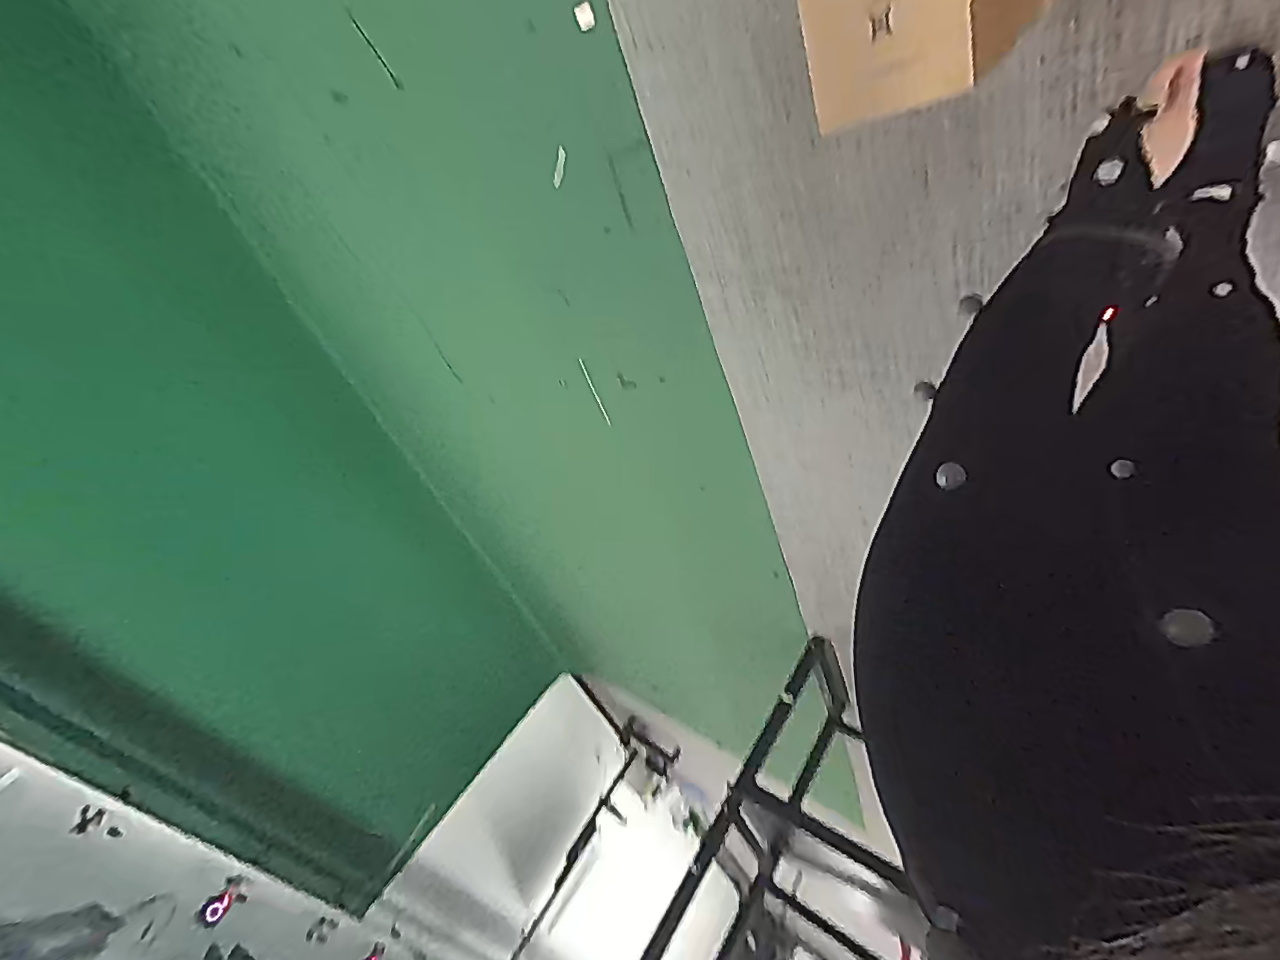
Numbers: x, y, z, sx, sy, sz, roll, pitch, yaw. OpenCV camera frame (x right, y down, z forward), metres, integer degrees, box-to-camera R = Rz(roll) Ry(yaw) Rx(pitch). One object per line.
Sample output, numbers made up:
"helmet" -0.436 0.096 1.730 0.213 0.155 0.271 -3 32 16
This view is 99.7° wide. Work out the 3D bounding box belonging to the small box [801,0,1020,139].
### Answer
"small box" 0.299 -0.516 0.591 0.168 0.176 0.179 10 137 45
